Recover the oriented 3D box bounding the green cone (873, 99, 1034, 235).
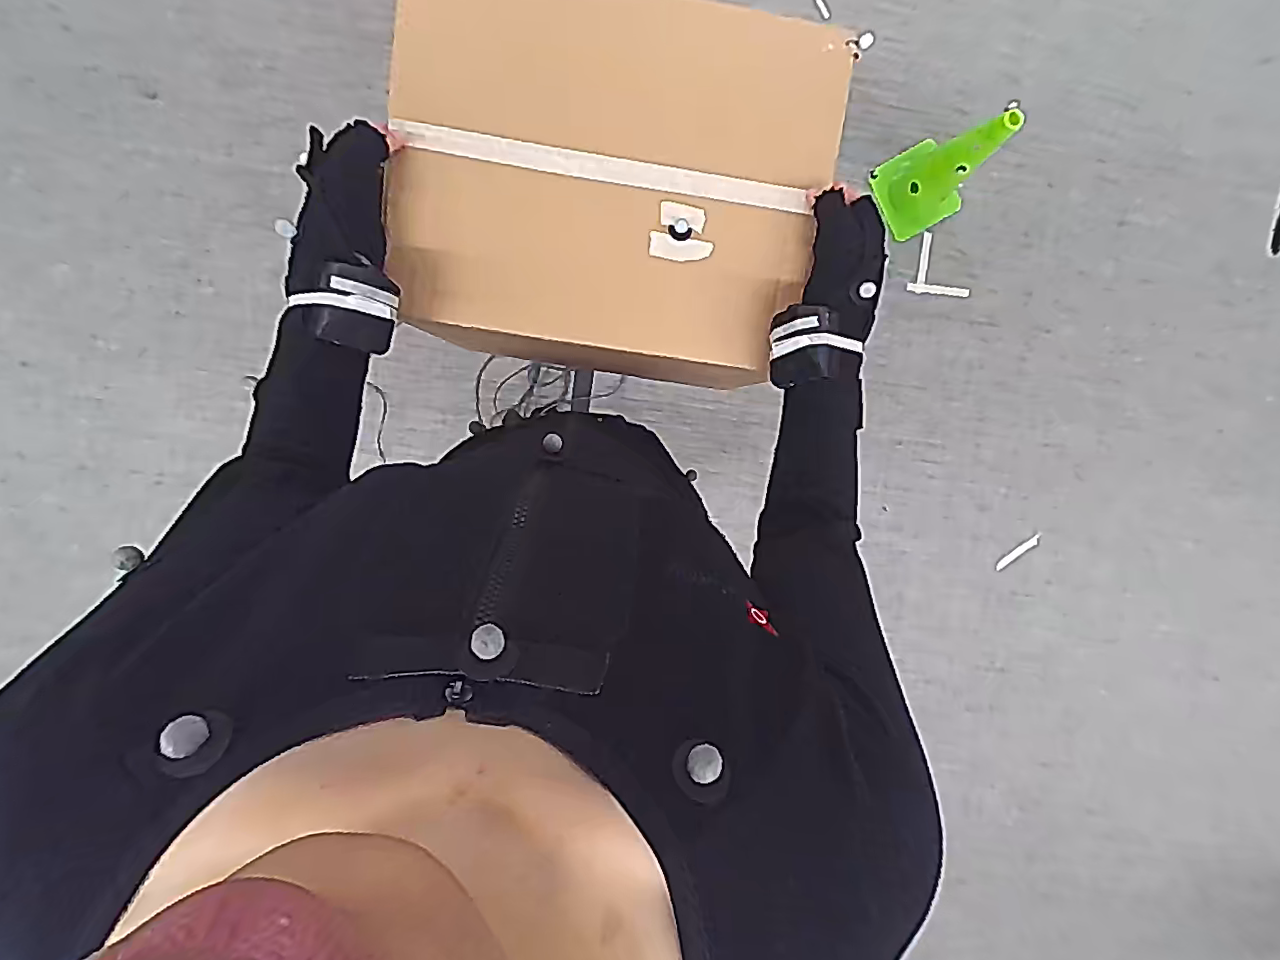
[{"bbox_3d":[0.741,-0.748,1.242,0.202,0.368,0.200,-30,99,0],"label":"green cone"}]

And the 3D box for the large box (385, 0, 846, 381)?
[{"bbox_3d":[-0.035,-0.305,0.645,0.408,0.320,0.320,7,97,-5],"label":"large box"}]
